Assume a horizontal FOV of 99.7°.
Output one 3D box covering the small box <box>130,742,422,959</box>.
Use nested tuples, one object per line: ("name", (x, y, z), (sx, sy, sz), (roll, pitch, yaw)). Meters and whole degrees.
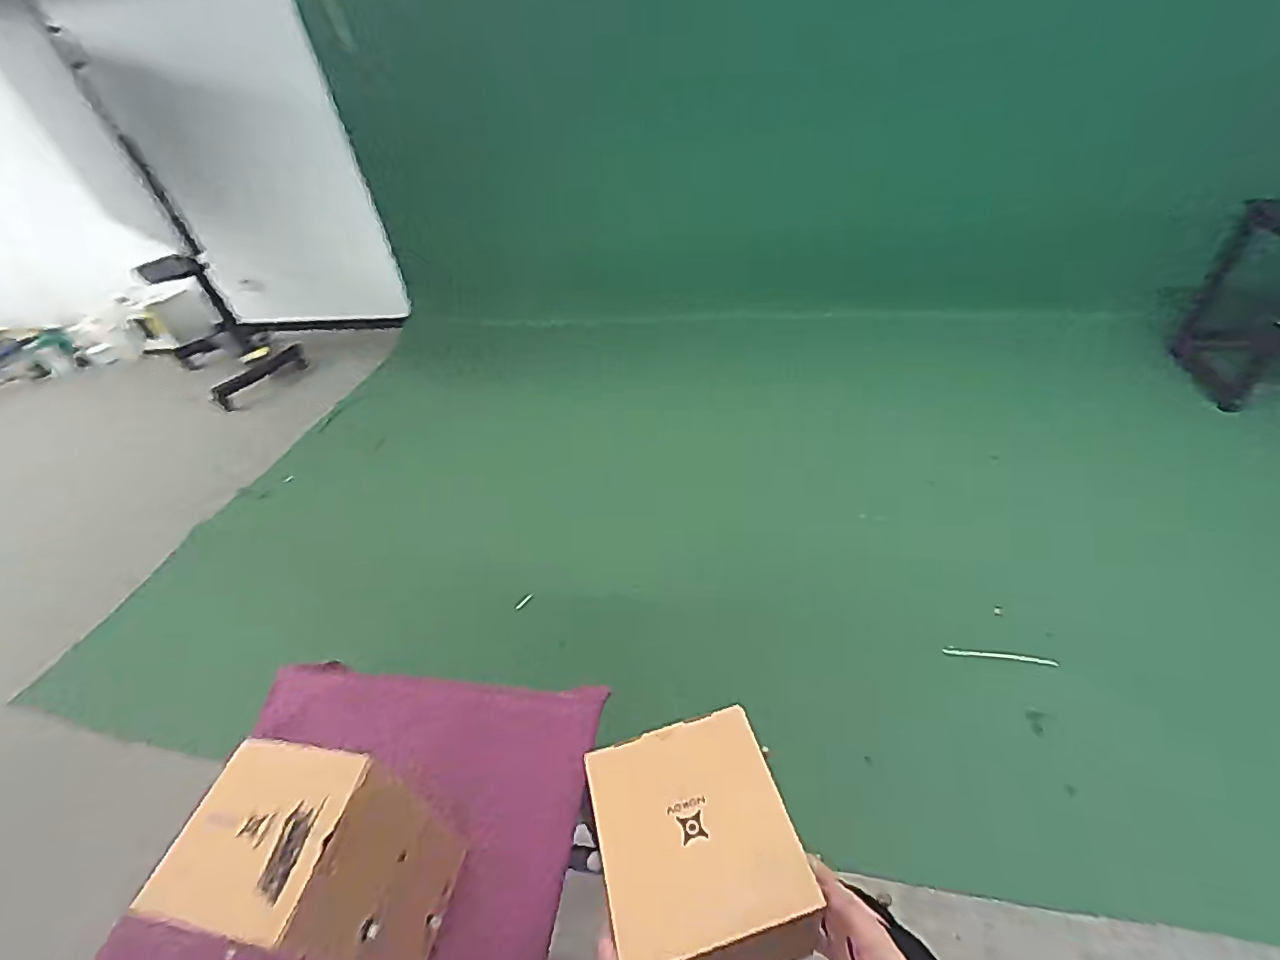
("small box", (-0.382, 0.422, 0.609), (0.179, 0.176, 0.168), (0, 43, 14))

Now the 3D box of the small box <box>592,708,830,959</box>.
("small box", (0.062, 0.359, 0.515), (0.168, 0.176, 0.179), (-15, 37, -5))

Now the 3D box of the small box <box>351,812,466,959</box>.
("small box", (-0.364, 0.543, 0.717), (0.179, 0.176, 0.168), (2, 43, 13))
